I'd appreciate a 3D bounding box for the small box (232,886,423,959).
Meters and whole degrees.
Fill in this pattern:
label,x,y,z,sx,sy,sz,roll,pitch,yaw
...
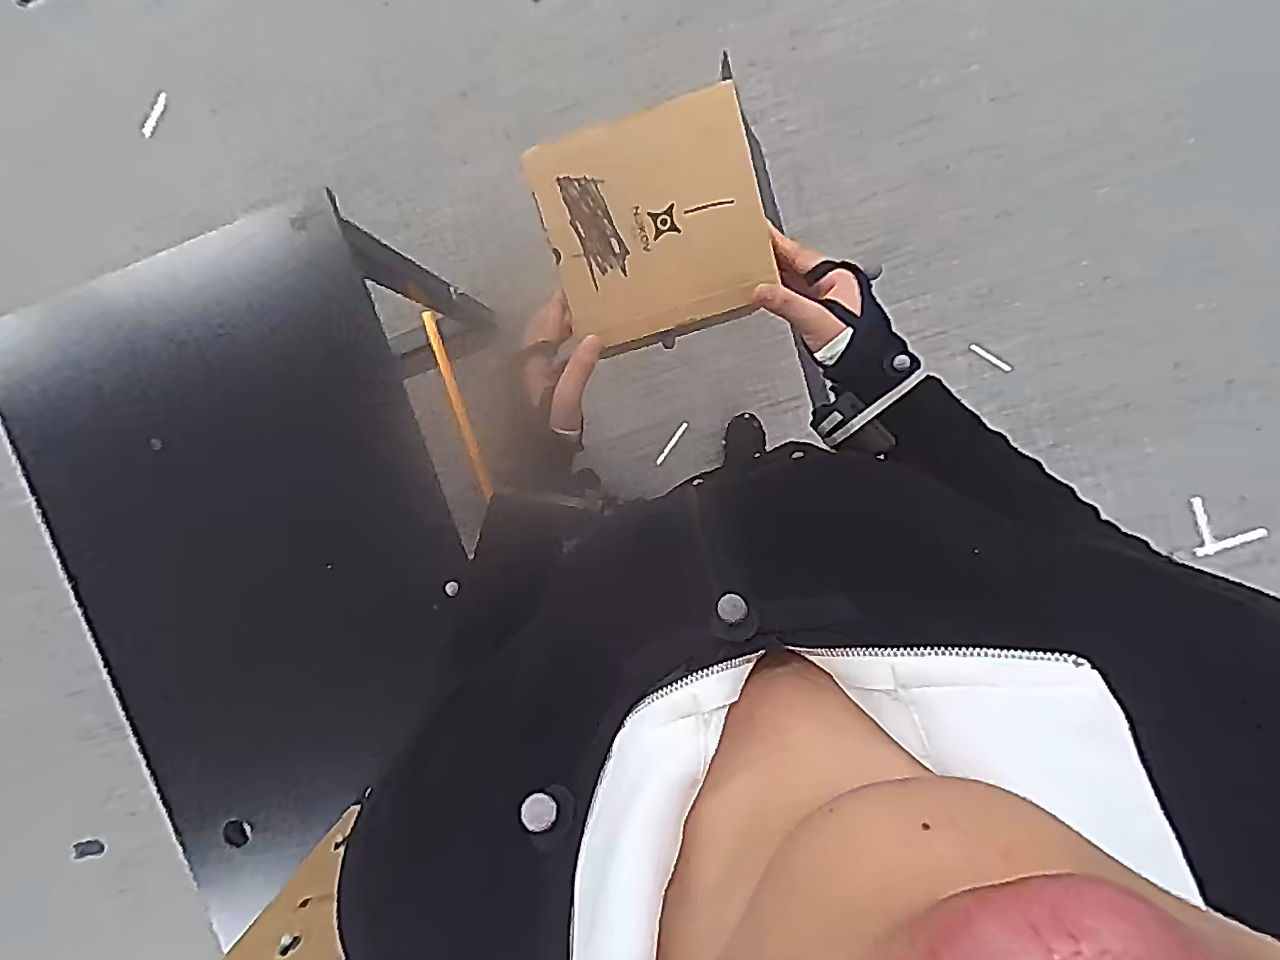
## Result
label,x,y,z,sx,sy,sz,roll,pitch,yaw
small box,-0.359,0.591,0.595,0.168,0.176,0.179,-15,95,6

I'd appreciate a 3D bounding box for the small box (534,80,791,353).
label,x,y,z,sx,sy,sz,roll,pitch,yaw
small box,0.023,-0.222,0.511,0.179,0.176,0.168,-16,101,5
